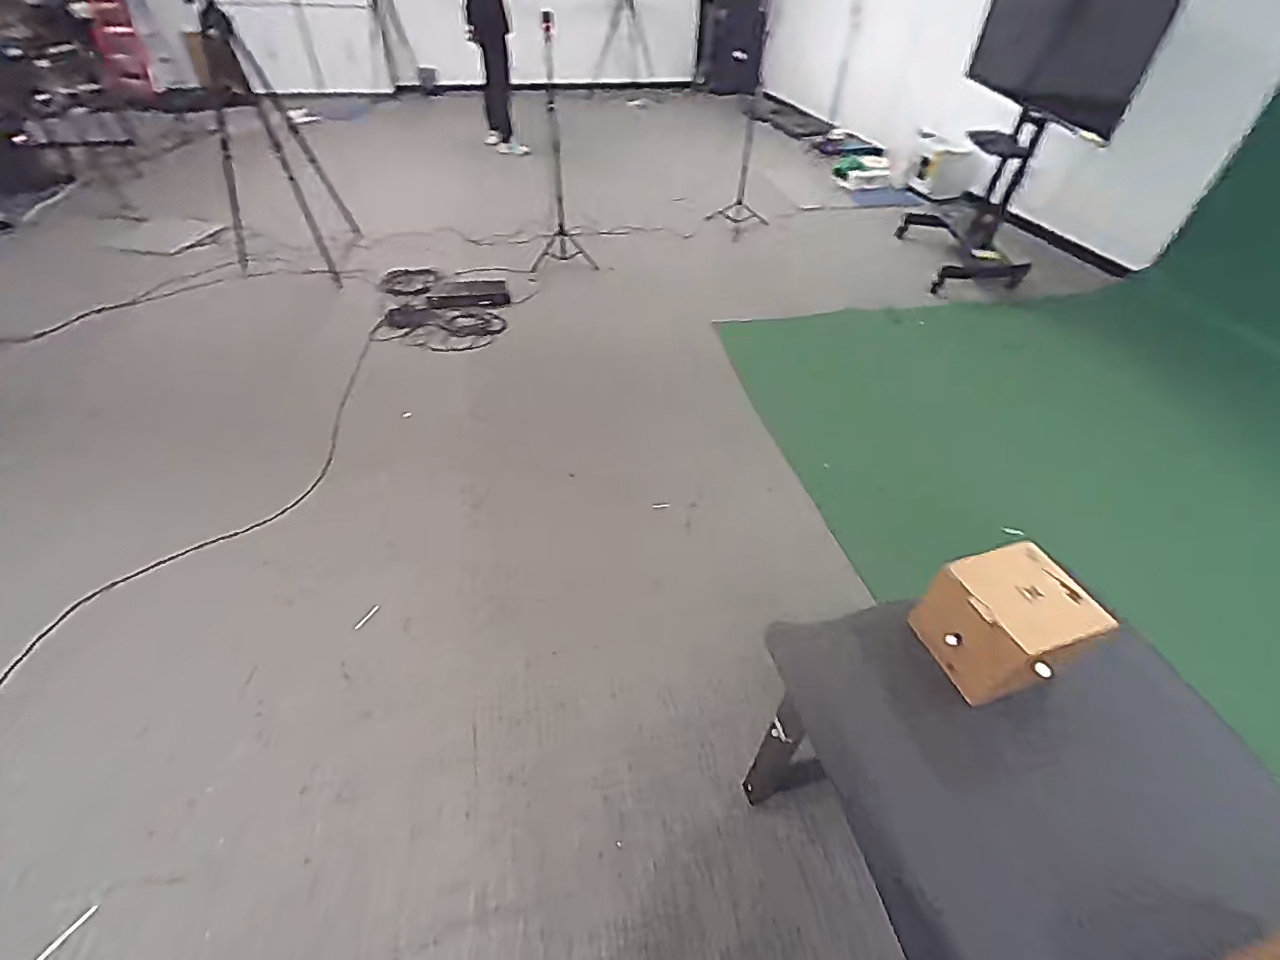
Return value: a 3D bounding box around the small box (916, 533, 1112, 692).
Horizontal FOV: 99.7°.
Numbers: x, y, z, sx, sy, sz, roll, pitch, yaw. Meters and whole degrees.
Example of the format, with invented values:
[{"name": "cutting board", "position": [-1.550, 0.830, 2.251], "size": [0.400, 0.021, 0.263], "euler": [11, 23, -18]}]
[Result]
[{"name": "small box", "position": [0.580, 0.216, 0.875], "size": [0.179, 0.176, 0.168], "euler": [-13, 47, -13]}]
